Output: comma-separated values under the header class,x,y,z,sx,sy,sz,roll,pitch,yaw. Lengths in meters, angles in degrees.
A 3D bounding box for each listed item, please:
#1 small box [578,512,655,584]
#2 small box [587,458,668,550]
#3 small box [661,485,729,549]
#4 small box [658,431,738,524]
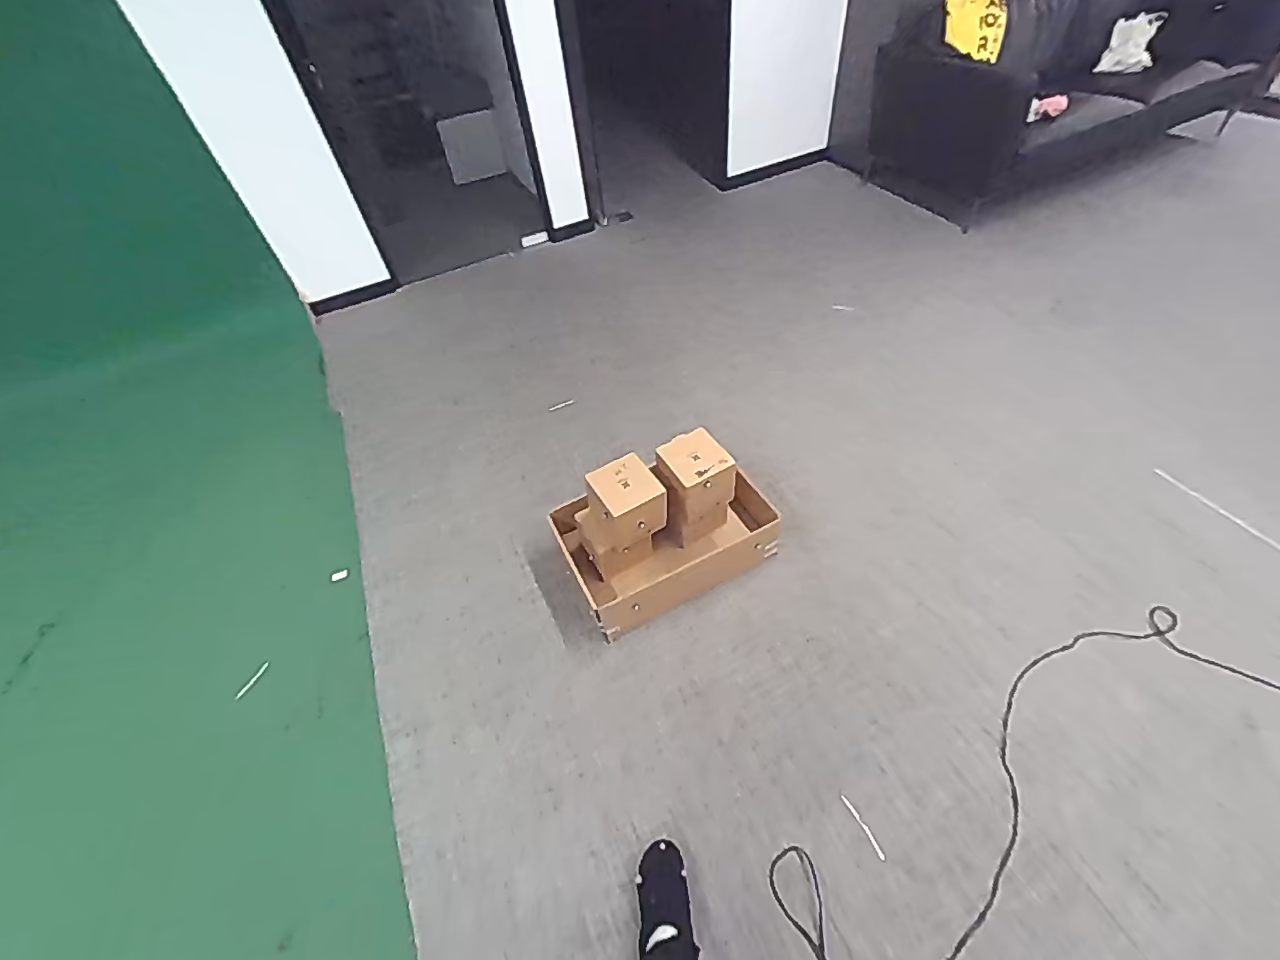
class,x,y,z,sx,sy,sz,roll,pitch,yaw
small box,-0.067,0.190,1.663,0.179,0.176,0.168,-26,52,-17
small box,-0.030,0.076,1.541,0.168,0.176,0.179,-27,53,-18
small box,0.170,0.089,1.718,0.179,0.176,0.168,-30,53,-17
small box,0.170,-0.006,1.582,0.168,0.176,0.179,-28,51,-13
